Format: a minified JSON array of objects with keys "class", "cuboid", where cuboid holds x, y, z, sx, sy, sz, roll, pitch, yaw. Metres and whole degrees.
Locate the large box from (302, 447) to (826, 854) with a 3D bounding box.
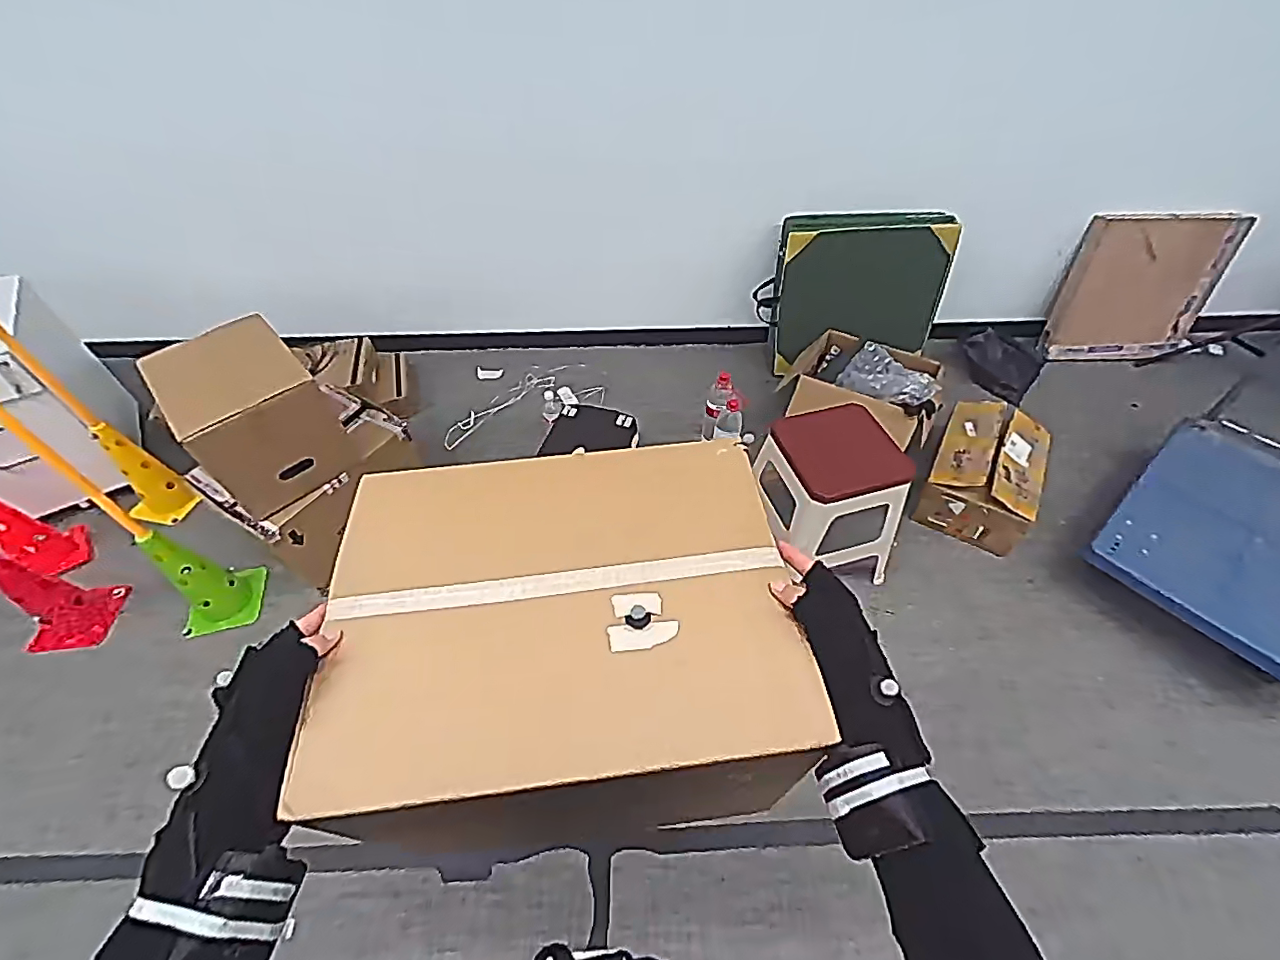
[{"class":"large box","cuboid":[-0.068,0.194,0.612,0.408,0.320,0.320,-5,51,-4]}]
